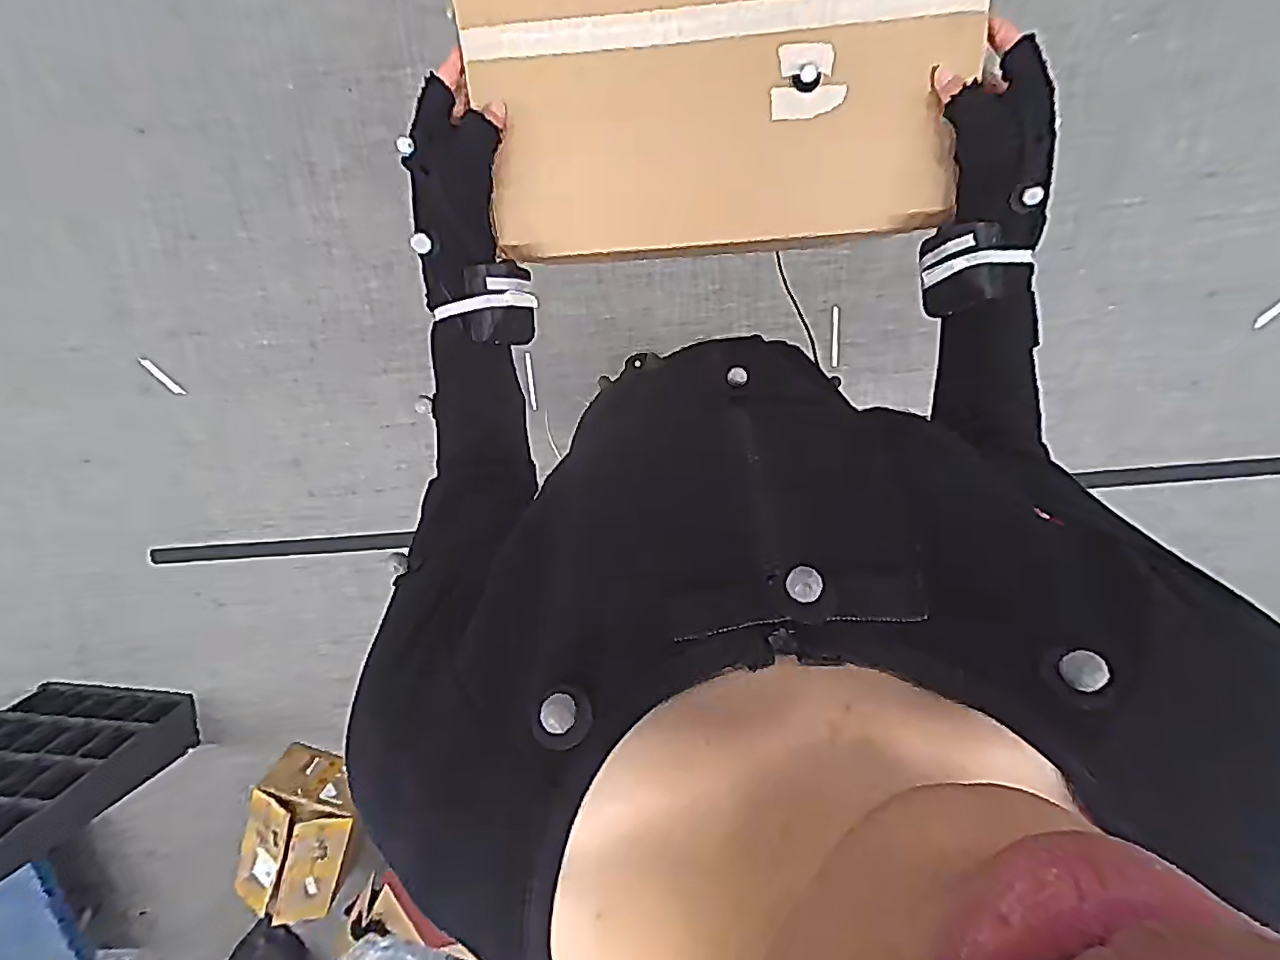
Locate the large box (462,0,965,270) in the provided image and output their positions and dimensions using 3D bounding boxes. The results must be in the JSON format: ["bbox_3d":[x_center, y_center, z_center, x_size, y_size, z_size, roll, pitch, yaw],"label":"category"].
[{"bbox_3d":[0.059,-0.410,0.573,0.408,0.320,0.320,-4,110,2],"label":"large box"}]
